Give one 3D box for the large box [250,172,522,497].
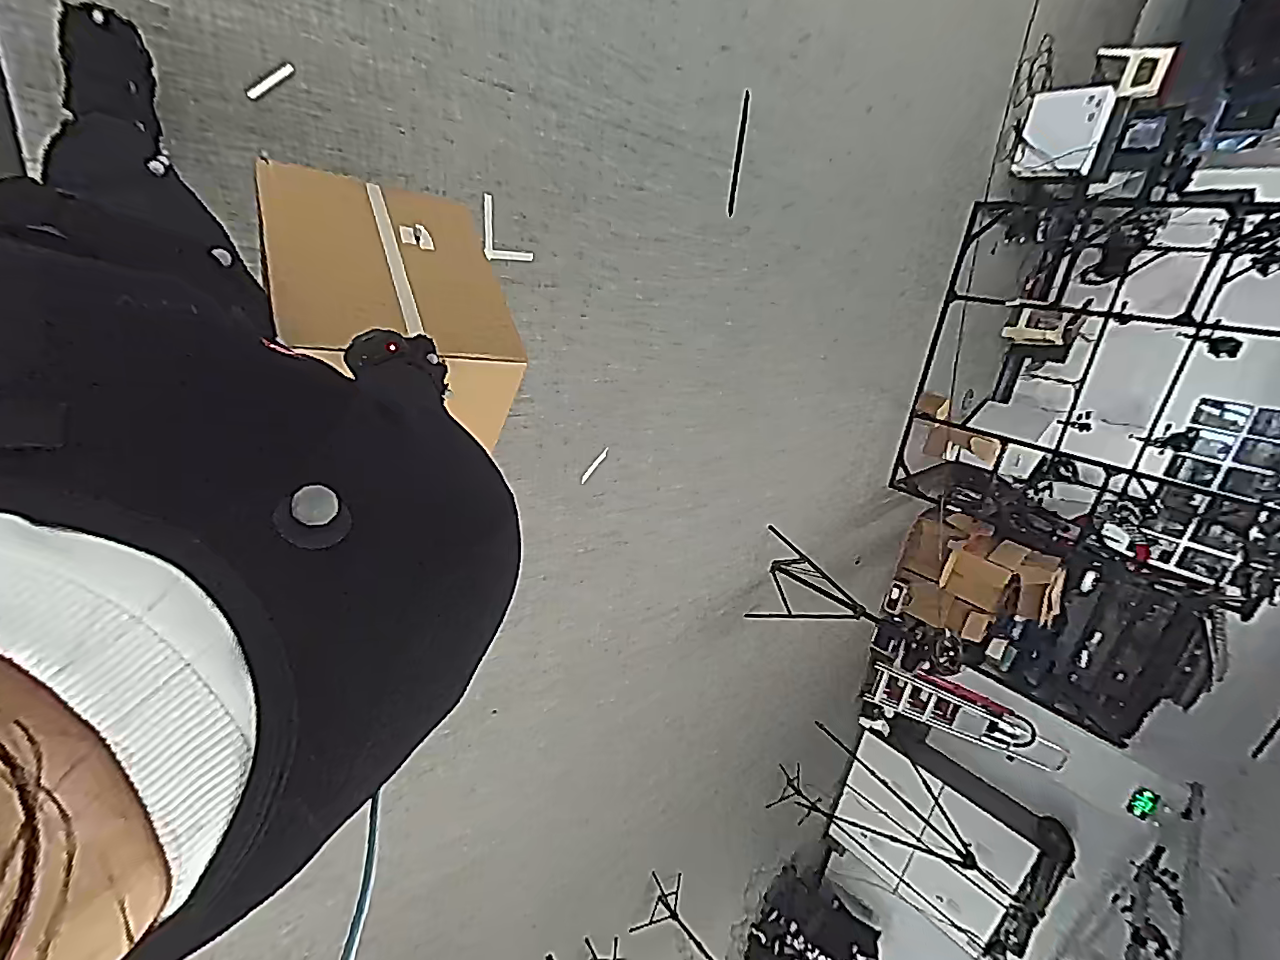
[{"bbox_3d":[-0.443,-0.229,0.910,0.320,0.408,0.320,-5,144,-37],"label":"large box"}]
